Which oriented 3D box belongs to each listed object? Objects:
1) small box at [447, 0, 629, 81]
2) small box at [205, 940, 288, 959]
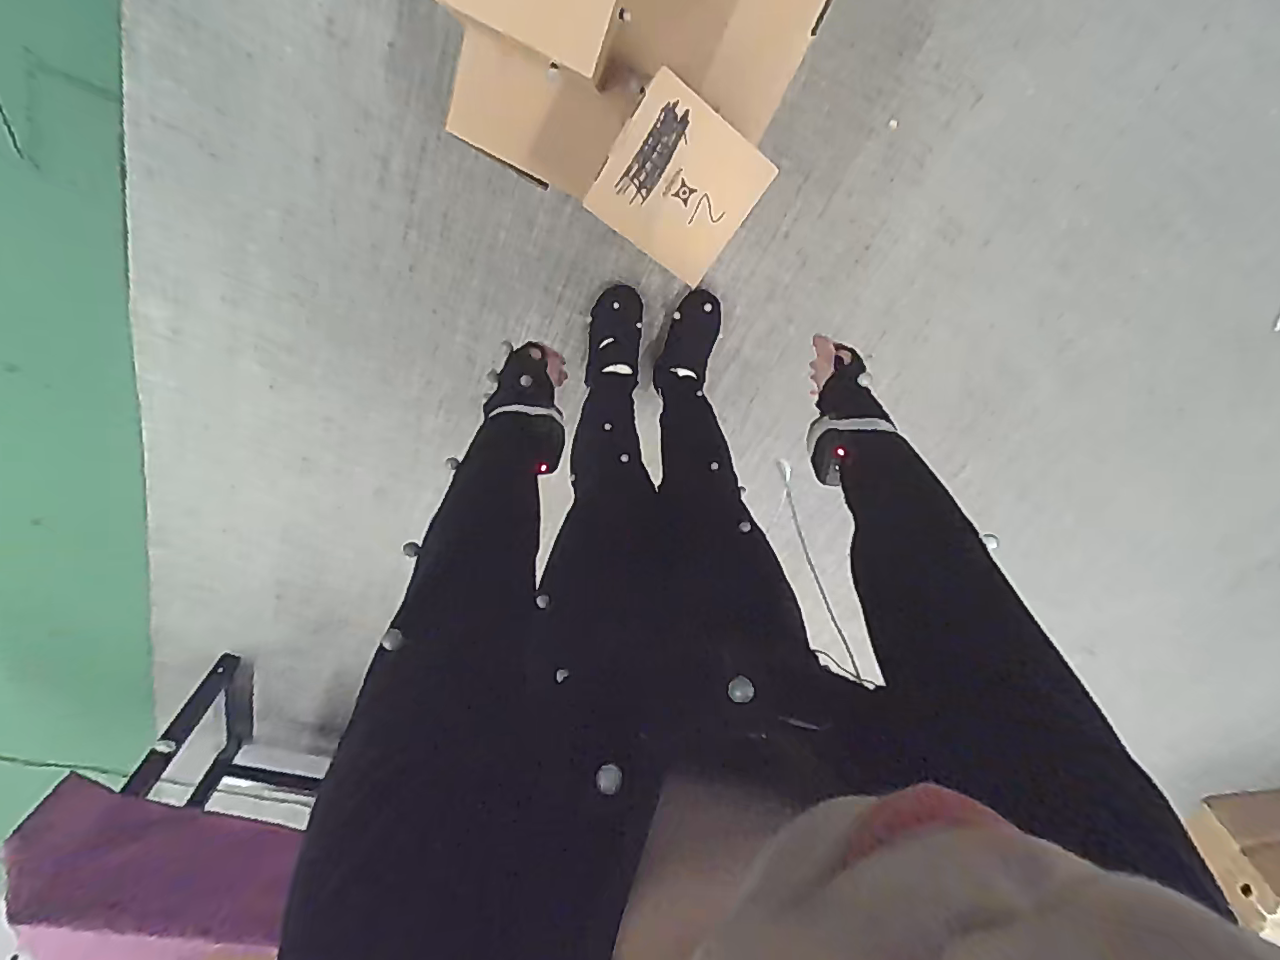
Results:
[{"bbox_3d":[-0.096,-0.566,0.588,0.179,0.176,0.168,20,119,-13],"label":"small box"},{"bbox_3d":[-0.975,1.234,1.292,0.179,0.176,0.168,20,122,-13],"label":"small box"}]
